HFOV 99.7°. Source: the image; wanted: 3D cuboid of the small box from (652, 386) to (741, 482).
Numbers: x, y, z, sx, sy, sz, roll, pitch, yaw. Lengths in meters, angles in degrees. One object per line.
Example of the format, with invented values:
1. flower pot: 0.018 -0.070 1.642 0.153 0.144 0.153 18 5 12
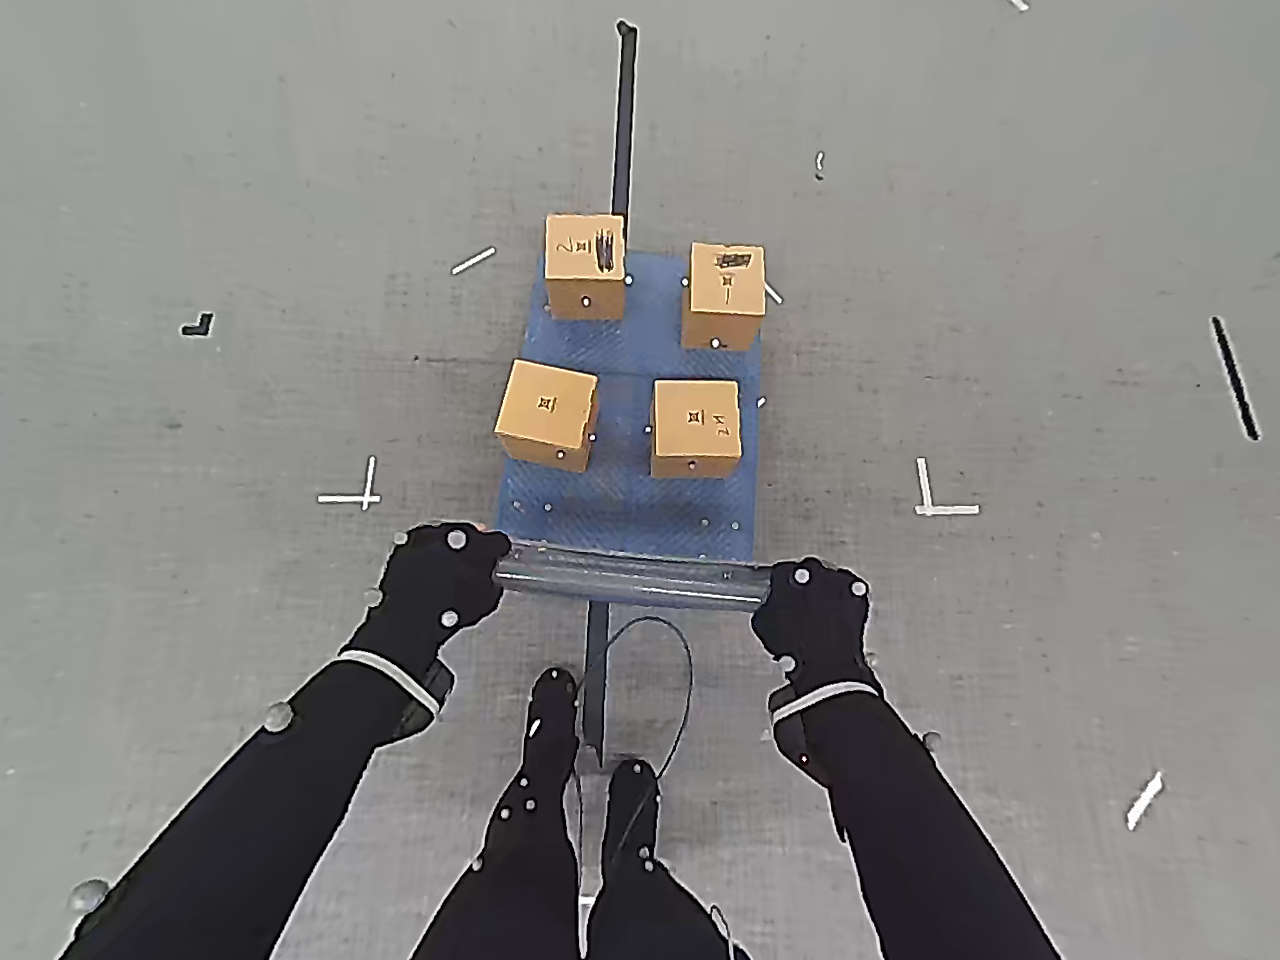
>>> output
1. small box: 0.116 -0.095 1.183 0.179 0.176 0.168 1 75 -3

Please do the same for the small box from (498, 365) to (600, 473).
1. small box: -0.189 -0.125 1.176 0.179 0.176 0.168 12 74 -1

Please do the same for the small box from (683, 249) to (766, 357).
1. small box: 0.194 -0.412 1.273 0.168 0.176 0.179 3 75 -2
